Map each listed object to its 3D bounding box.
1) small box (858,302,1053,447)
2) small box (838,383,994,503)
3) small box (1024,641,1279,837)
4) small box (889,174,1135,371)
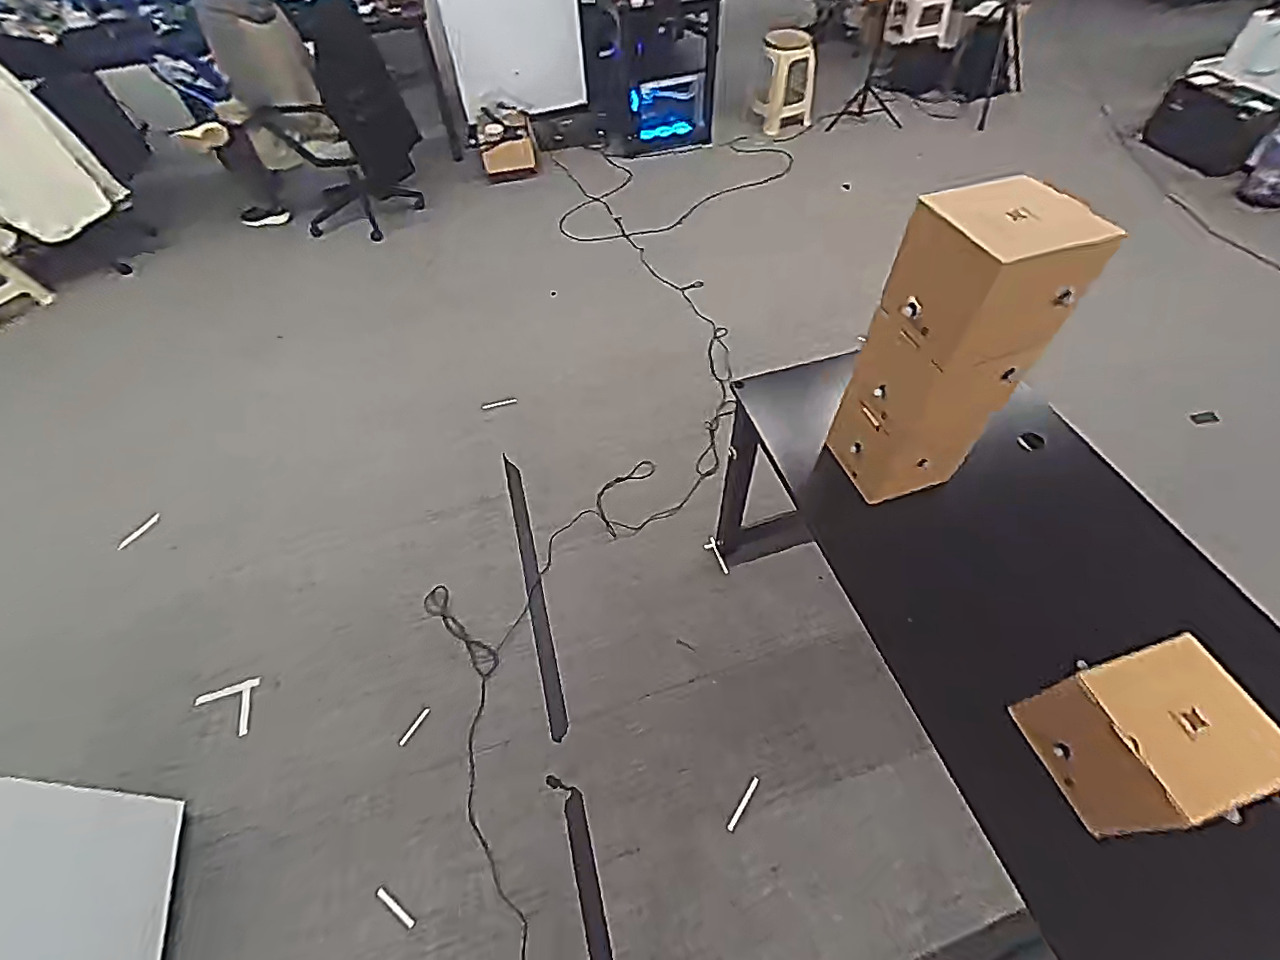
[{"bbox_3d":[0.479,-0.179,0.855,0.179,0.176,0.168,-16,54,-8],"label":"small box"},{"bbox_3d":[0.484,-0.082,0.988,0.179,0.176,0.168,-17,55,-9],"label":"small box"},{"bbox_3d":[0.646,0.329,0.682,0.179,0.176,0.168,-15,55,-8],"label":"small box"},{"bbox_3d":[0.473,-0.274,0.722,0.179,0.176,0.168,-16,54,-8],"label":"small box"}]
